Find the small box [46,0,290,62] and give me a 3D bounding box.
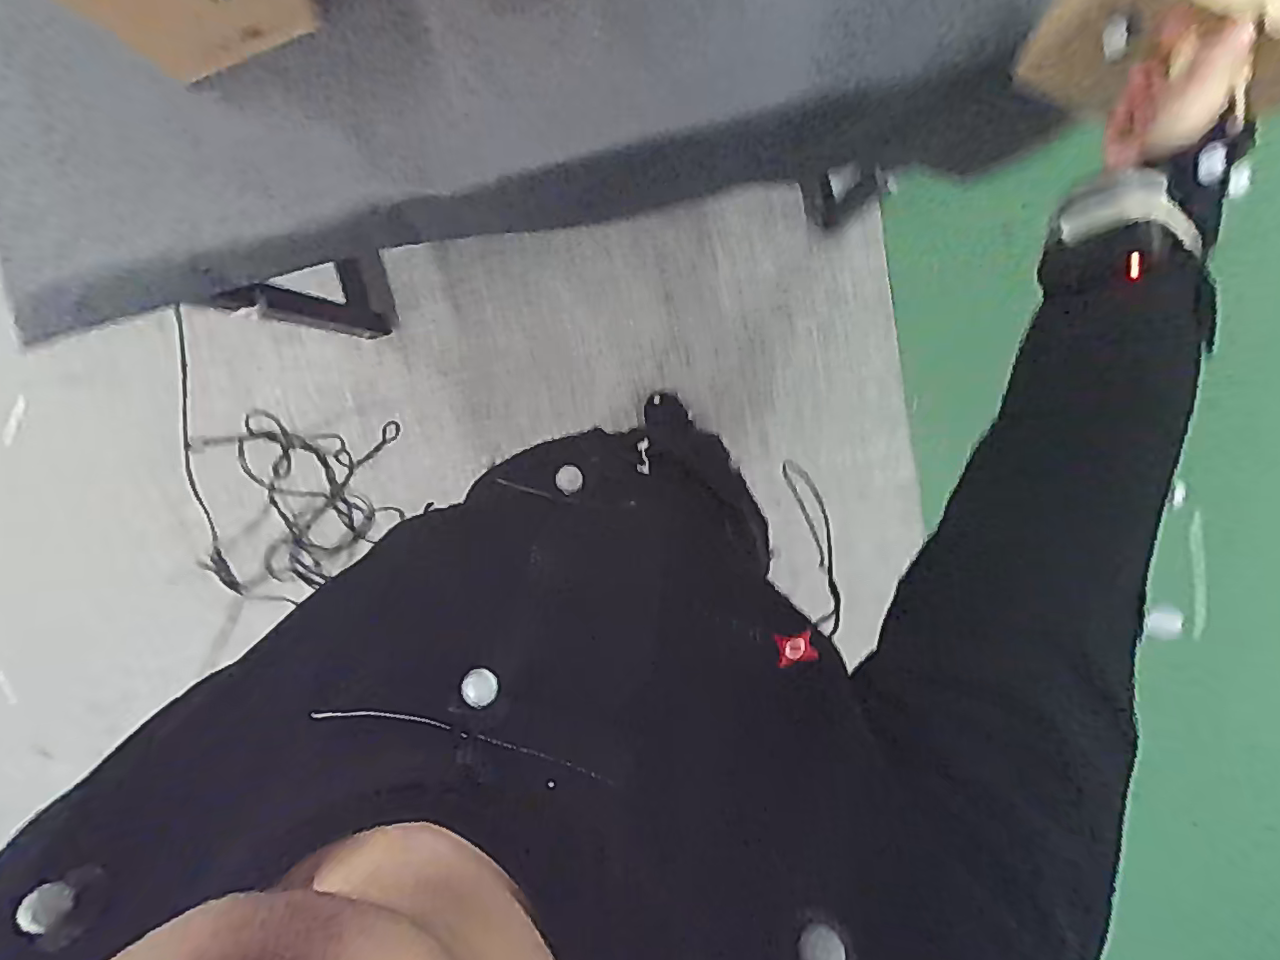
[{"bbox_3d":[-0.447,-0.504,0.457,0.168,0.176,0.179,-21,97,3],"label":"small box"}]
